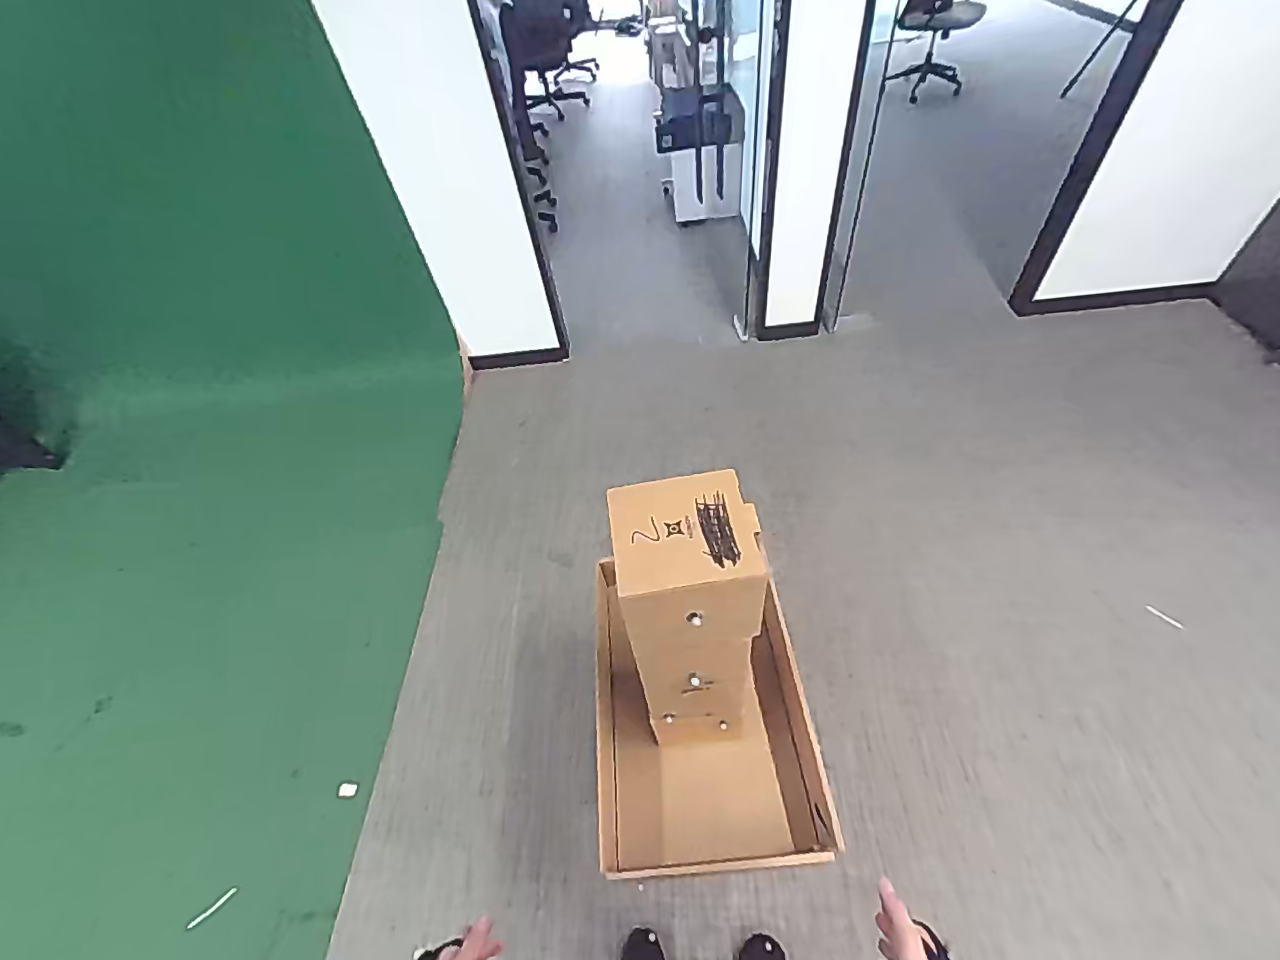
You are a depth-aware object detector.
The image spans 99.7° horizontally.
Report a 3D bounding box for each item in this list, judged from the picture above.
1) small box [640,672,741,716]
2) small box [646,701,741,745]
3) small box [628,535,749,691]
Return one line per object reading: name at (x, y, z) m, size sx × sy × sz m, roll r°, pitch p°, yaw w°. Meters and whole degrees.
small box at (0.089, 0.316, 0.979) m, size 0.168 × 0.176 × 0.179 m, roll -5°, pitch 48°, yaw 3°
small box at (0.104, 0.426, 1.099) m, size 0.179 × 0.176 × 0.168 m, roll -6°, pitch 49°, yaw 2°
small box at (0.072, 0.211, 0.853) m, size 0.168 × 0.176 × 0.179 m, roll -6°, pitch 49°, yaw 3°
